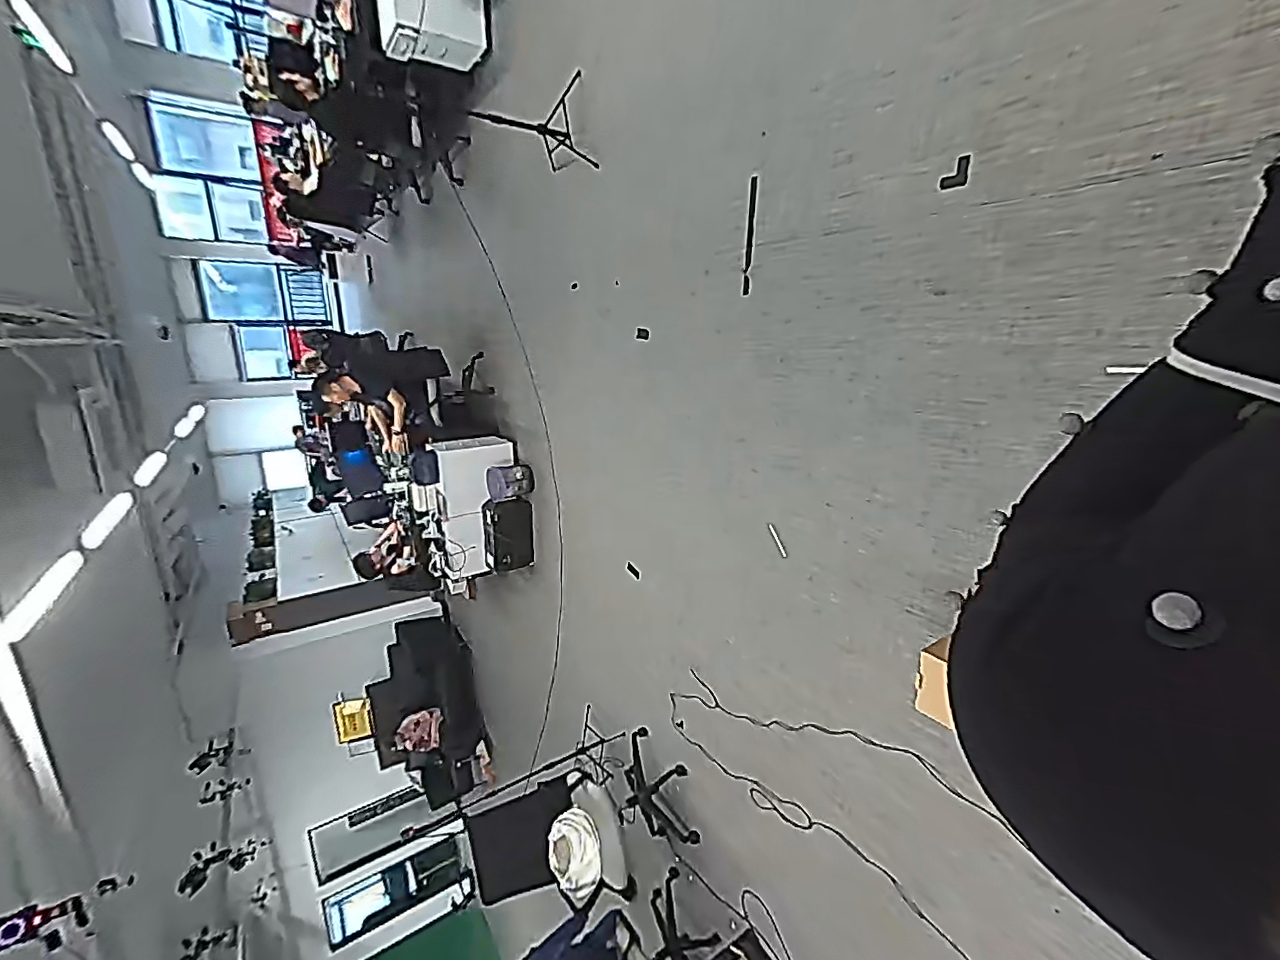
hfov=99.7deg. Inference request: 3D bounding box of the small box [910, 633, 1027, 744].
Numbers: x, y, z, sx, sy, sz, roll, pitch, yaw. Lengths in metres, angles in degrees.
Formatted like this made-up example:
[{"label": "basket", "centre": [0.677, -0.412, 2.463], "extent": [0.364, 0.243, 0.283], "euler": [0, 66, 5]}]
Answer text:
[{"label": "small box", "centre": [0.791, 0.492, 1.309], "extent": [0.179, 0.176, 0.168], "euler": [19, 115, 54]}]
